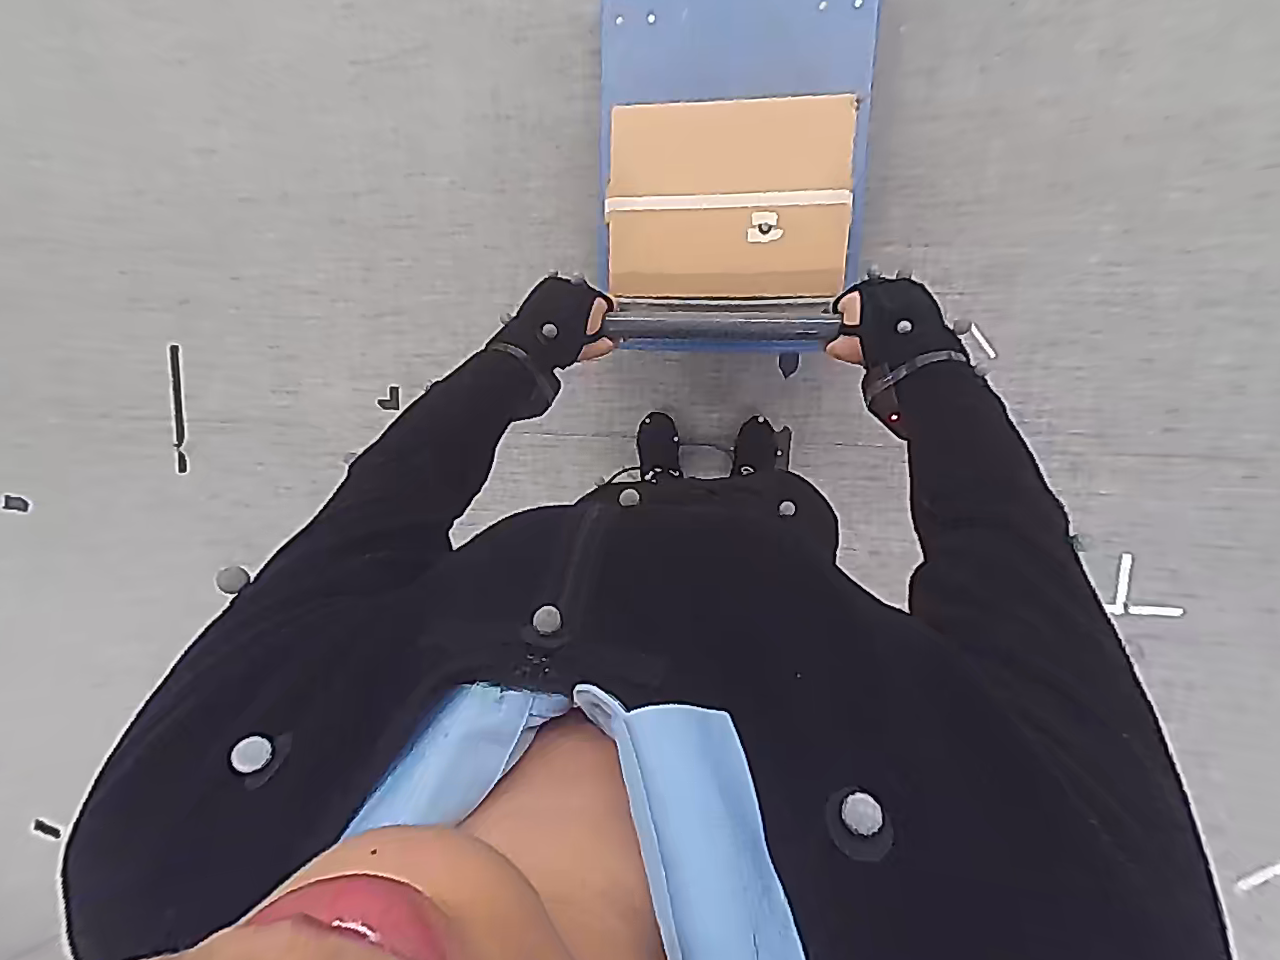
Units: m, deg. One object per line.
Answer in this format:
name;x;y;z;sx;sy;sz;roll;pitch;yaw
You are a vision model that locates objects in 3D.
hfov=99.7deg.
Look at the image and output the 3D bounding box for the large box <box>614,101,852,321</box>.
large box;0.169;-0.500;1.080;0.408;0.320;0.320;2;100;7
